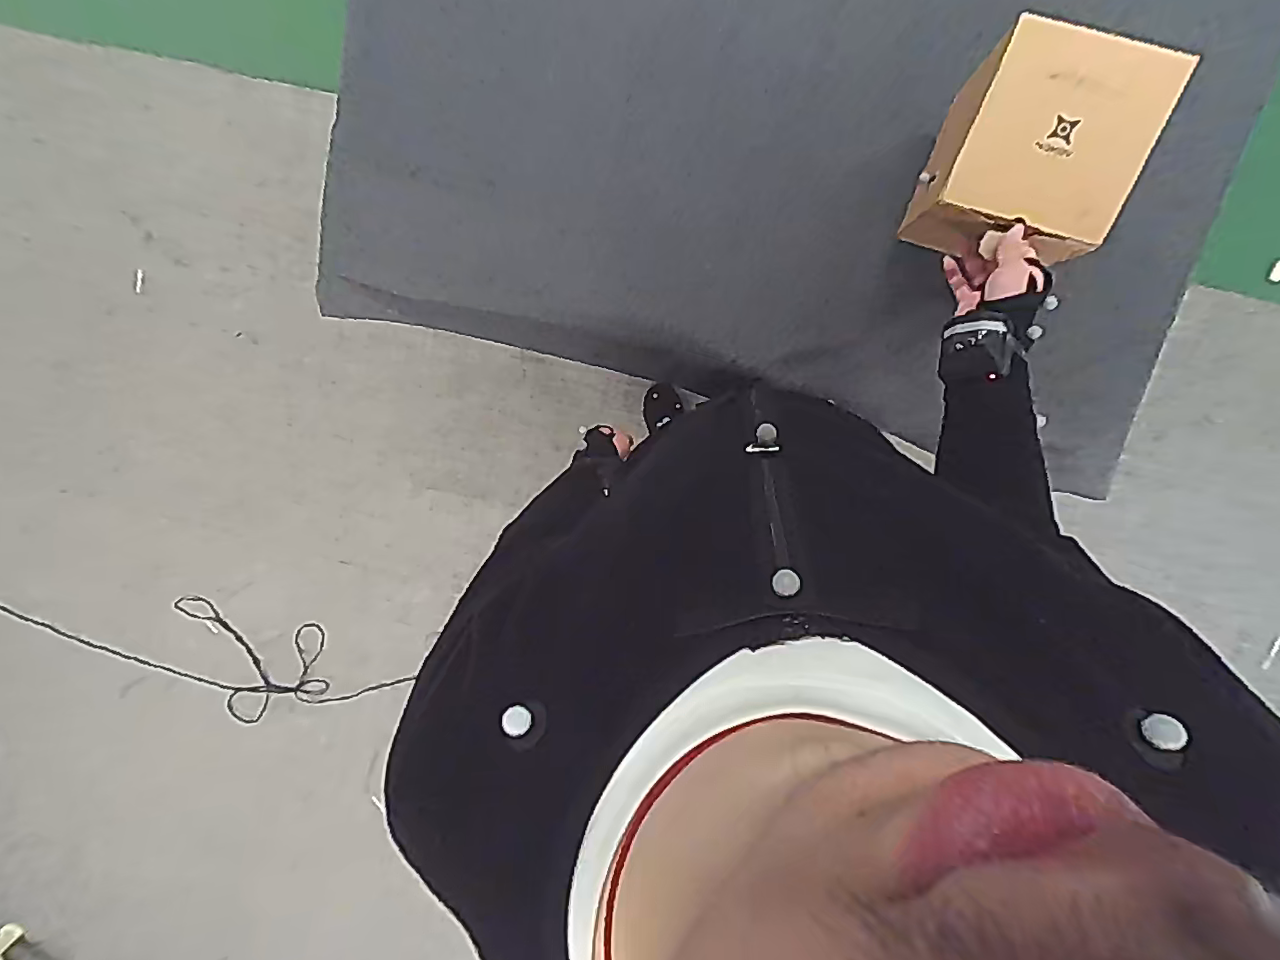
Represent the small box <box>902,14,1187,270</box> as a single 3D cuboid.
[{"bbox_3d":[0.423,-0.356,0.609,0.168,0.176,0.179,21,104,4],"label":"small box"}]
